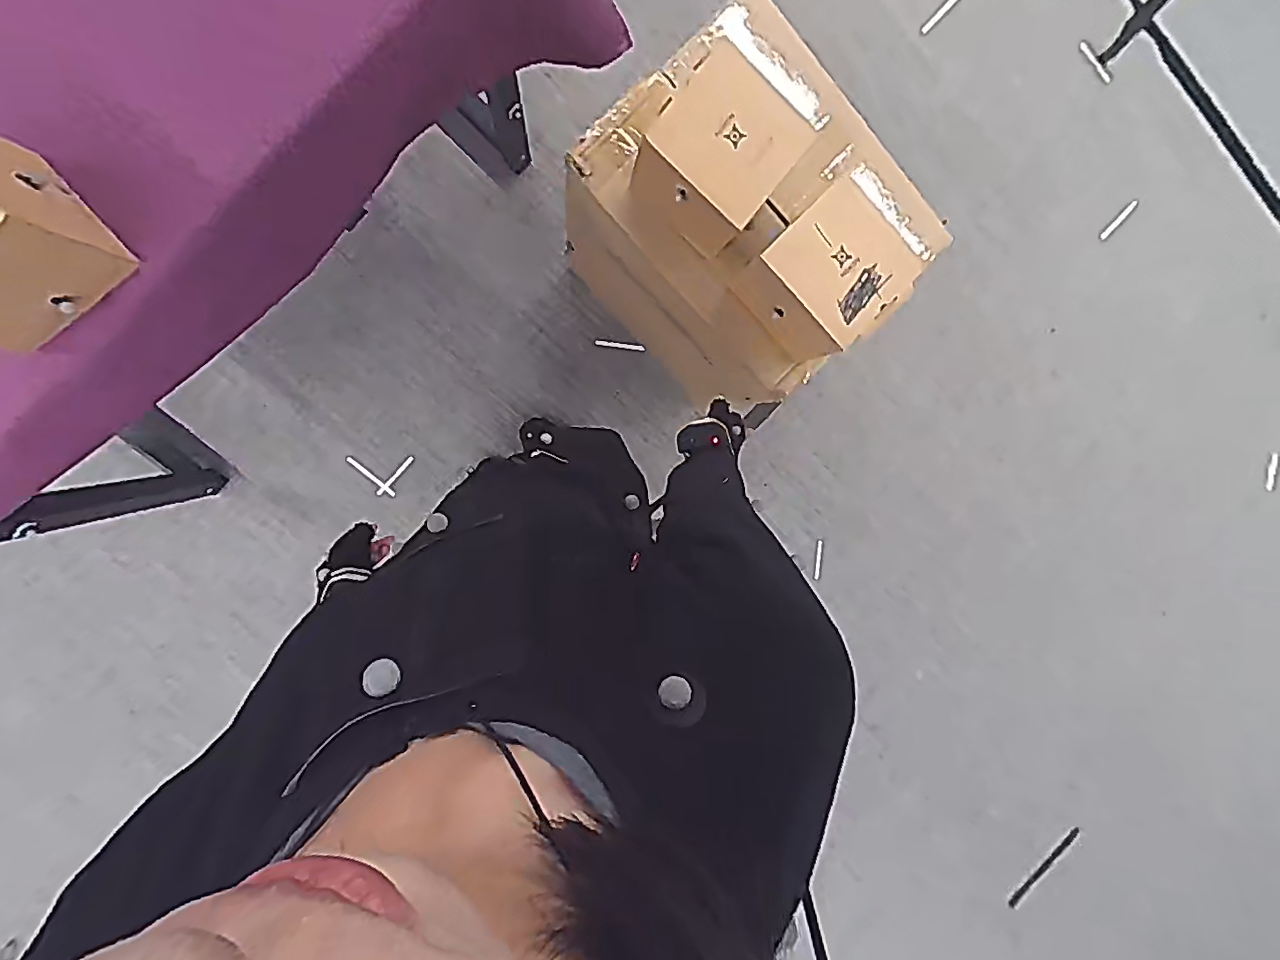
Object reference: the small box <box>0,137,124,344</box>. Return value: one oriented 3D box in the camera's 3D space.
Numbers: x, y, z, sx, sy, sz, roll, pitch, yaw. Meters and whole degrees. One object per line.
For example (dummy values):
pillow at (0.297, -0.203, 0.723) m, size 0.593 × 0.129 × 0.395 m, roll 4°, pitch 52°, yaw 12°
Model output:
small box at (-0.727, -0.271, 0.582) m, size 0.179 × 0.176 × 0.168 m, roll -40°, pitch 99°, yaw -2°

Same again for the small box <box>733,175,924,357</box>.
small box at (0.269, -0.302, 0.811) m, size 0.168 × 0.176 × 0.179 m, roll -45°, pitch 97°, yaw 0°

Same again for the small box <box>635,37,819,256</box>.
small box at (0.110, -0.456, 0.776) m, size 0.179 × 0.176 × 0.168 m, roll 40°, pitch 92°, yaw -11°
